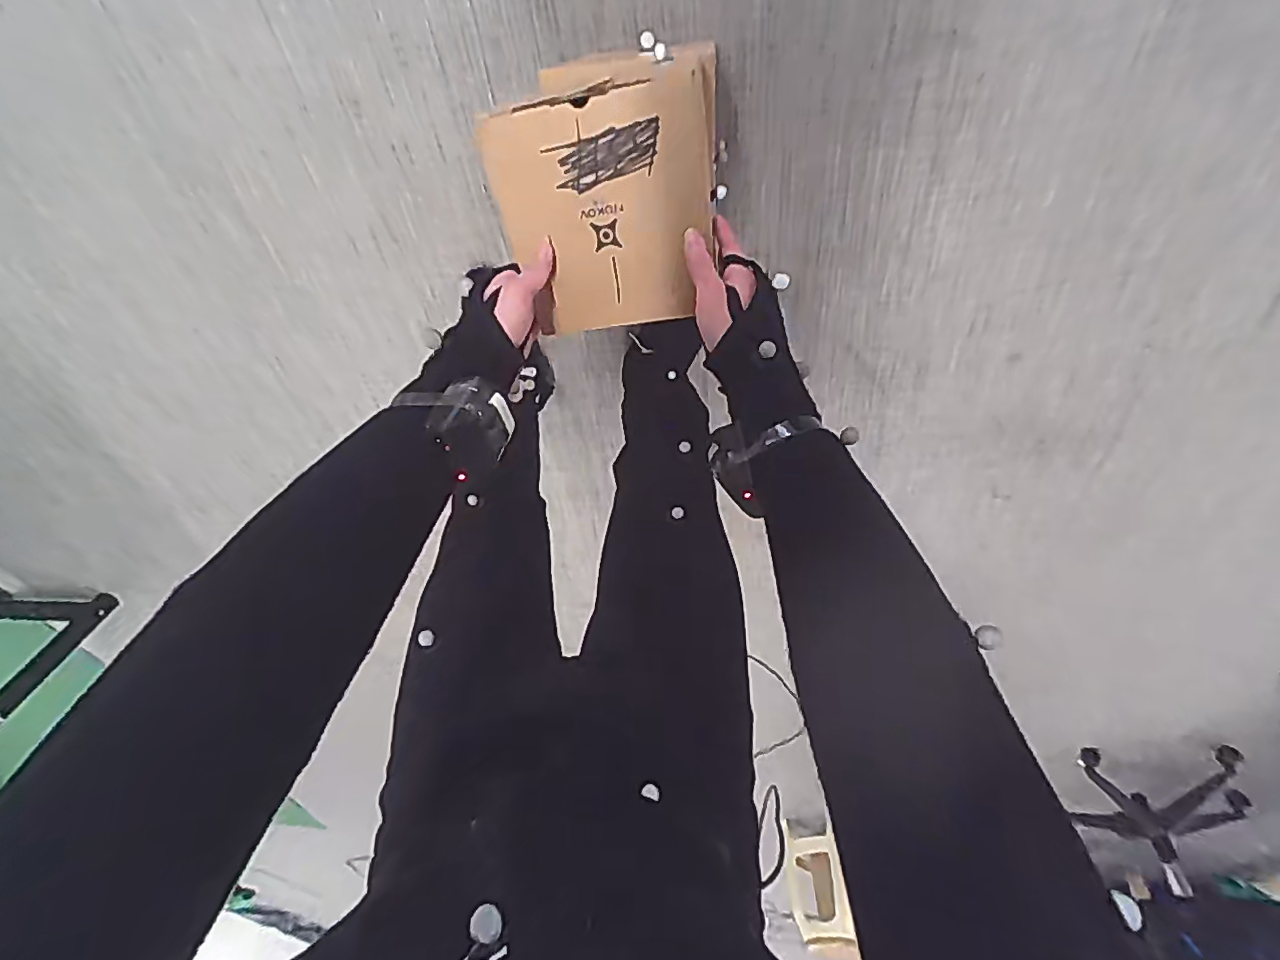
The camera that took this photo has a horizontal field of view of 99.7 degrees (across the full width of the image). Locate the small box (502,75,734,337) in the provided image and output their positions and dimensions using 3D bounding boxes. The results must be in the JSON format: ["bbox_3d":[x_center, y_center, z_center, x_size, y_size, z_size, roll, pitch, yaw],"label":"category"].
[{"bbox_3d":[-0.002,-0.247,0.484,0.168,0.176,0.179,0,130,10],"label":"small box"}]

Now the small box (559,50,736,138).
[{"bbox_3d":[0.019,-0.361,0.603,0.168,0.176,0.179,0,129,7],"label":"small box"}]
